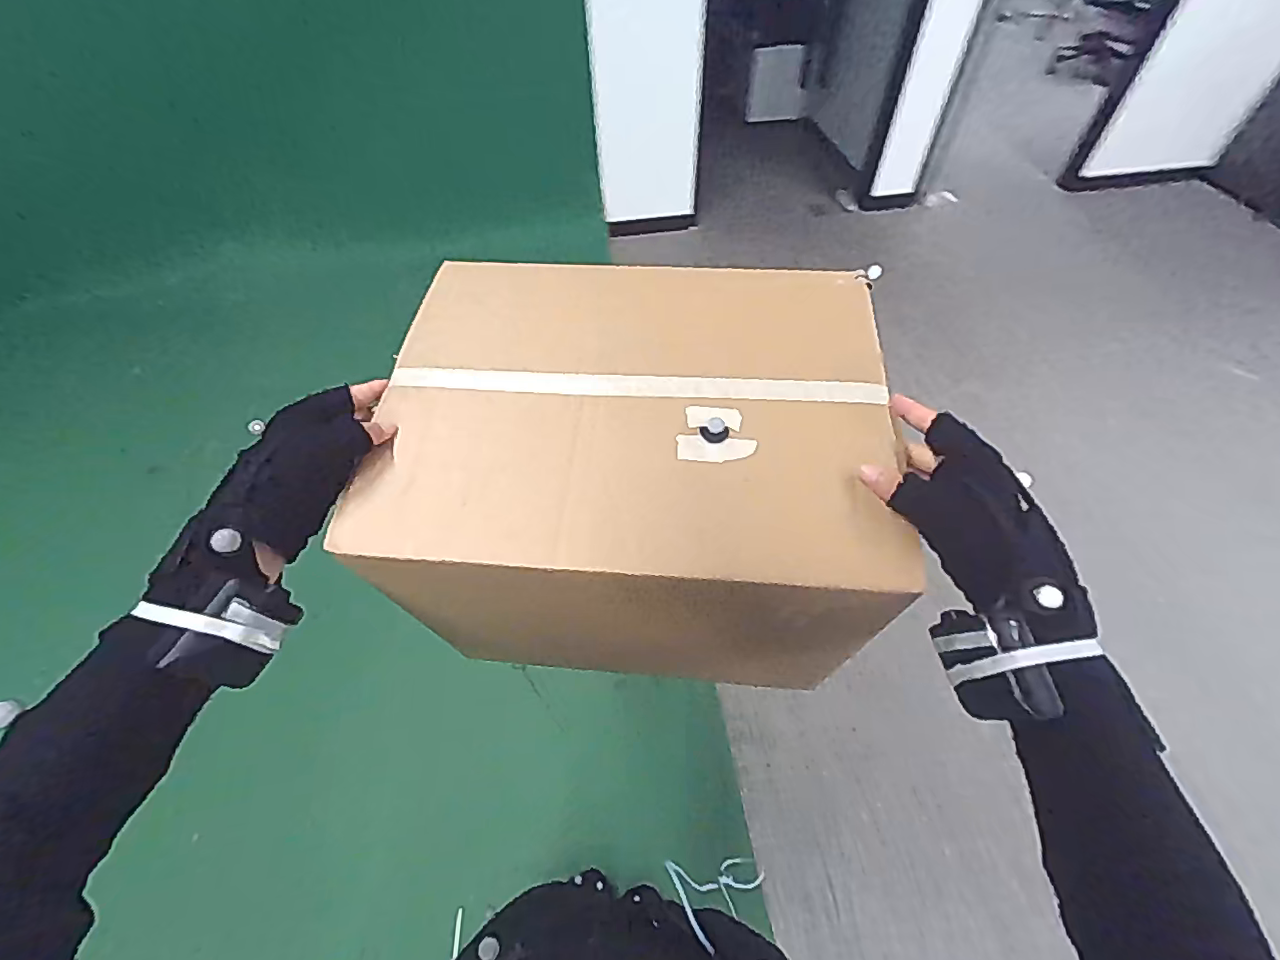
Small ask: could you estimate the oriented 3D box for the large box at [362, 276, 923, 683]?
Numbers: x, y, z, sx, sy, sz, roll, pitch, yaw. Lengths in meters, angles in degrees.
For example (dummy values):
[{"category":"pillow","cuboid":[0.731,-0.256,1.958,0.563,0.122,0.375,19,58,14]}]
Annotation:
[{"category":"large box","cuboid":[0.010,0.013,0.579,0.408,0.320,0.320,4,59,4]}]
